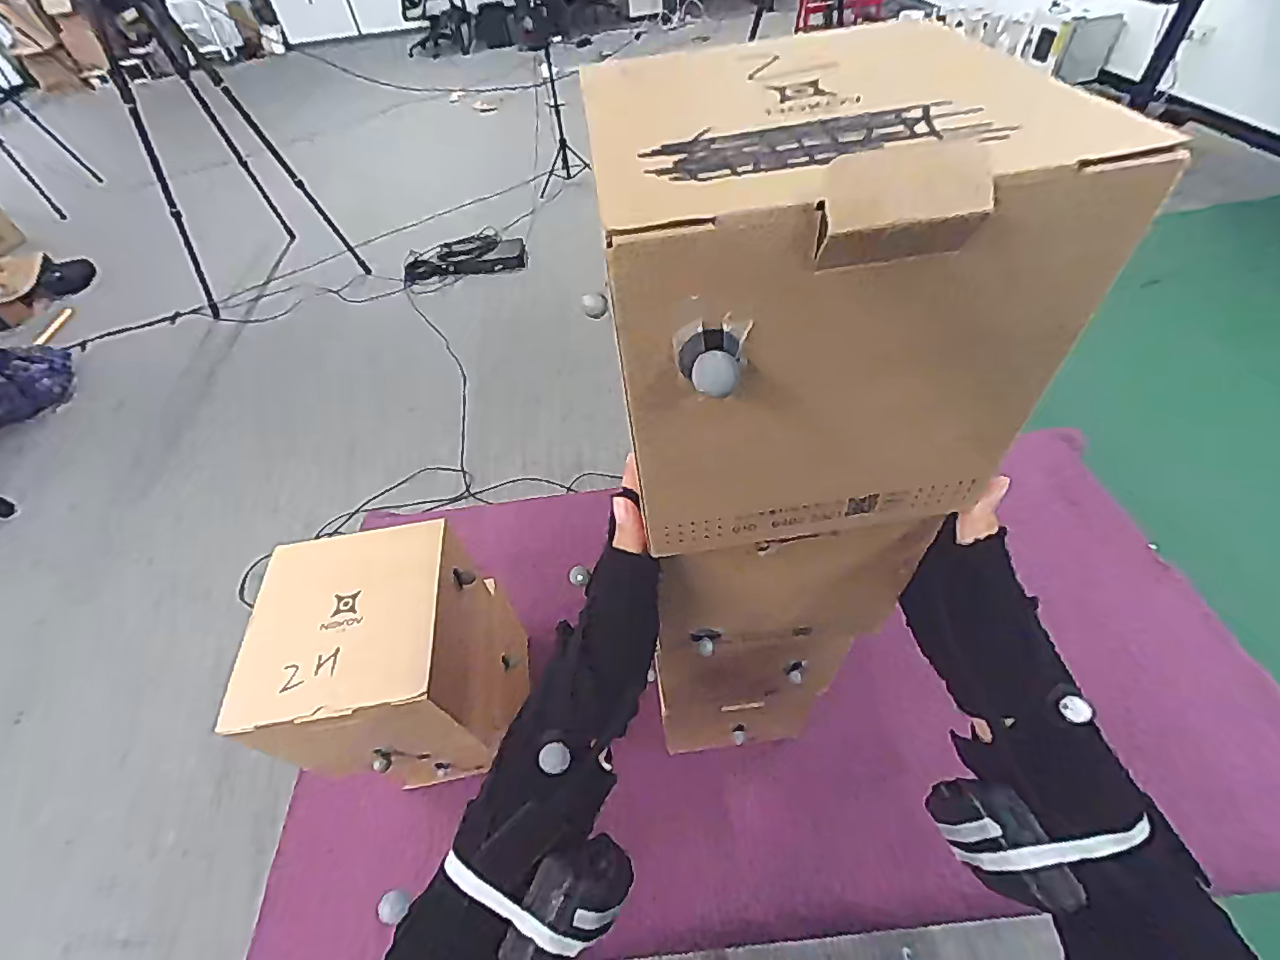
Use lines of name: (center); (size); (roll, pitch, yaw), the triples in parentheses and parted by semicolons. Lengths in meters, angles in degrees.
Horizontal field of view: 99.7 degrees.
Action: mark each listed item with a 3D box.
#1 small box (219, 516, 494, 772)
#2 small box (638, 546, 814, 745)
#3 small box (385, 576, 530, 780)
small box: (-0.247, 0.162, 0.528); (0.168, 0.176, 0.179); (-9, 52, -2)
small box: (0.098, 0.211, 0.667); (0.168, 0.176, 0.179); (-11, 50, -1)
small box: (-0.237, 0.247, 0.670); (0.168, 0.176, 0.179); (-11, 52, -3)
